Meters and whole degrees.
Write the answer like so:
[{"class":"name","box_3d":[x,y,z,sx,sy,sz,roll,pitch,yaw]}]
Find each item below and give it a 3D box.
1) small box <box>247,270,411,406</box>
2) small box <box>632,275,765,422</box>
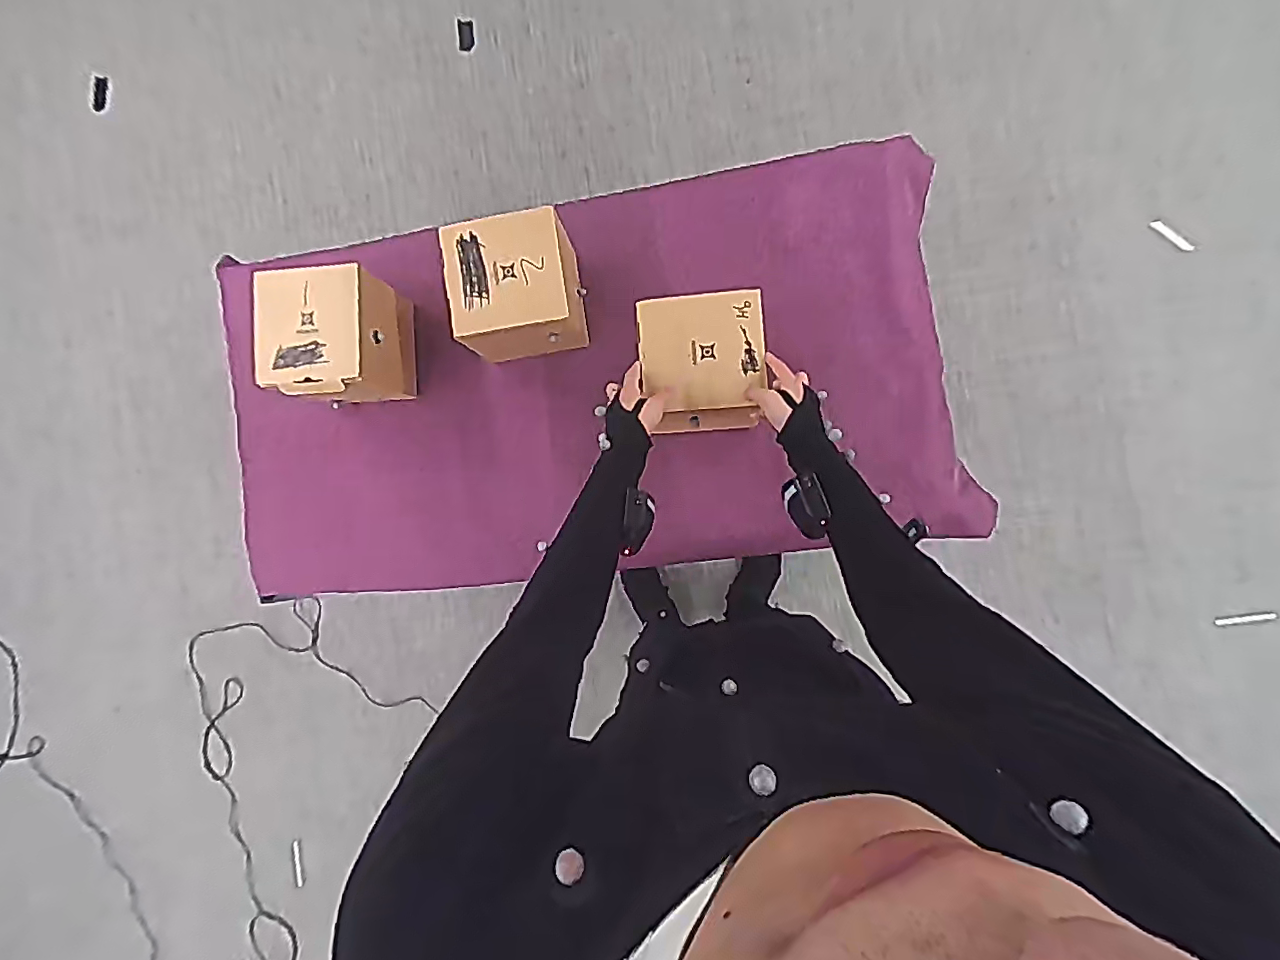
[{"class":"small box","box_3d":[-0.487,-0.215,0.869,0.168,0.176,0.179,-3,89,4]},{"class":"small box","box_3d":[0.088,-0.186,0.815,0.179,0.176,0.168,-4,86,6]}]
